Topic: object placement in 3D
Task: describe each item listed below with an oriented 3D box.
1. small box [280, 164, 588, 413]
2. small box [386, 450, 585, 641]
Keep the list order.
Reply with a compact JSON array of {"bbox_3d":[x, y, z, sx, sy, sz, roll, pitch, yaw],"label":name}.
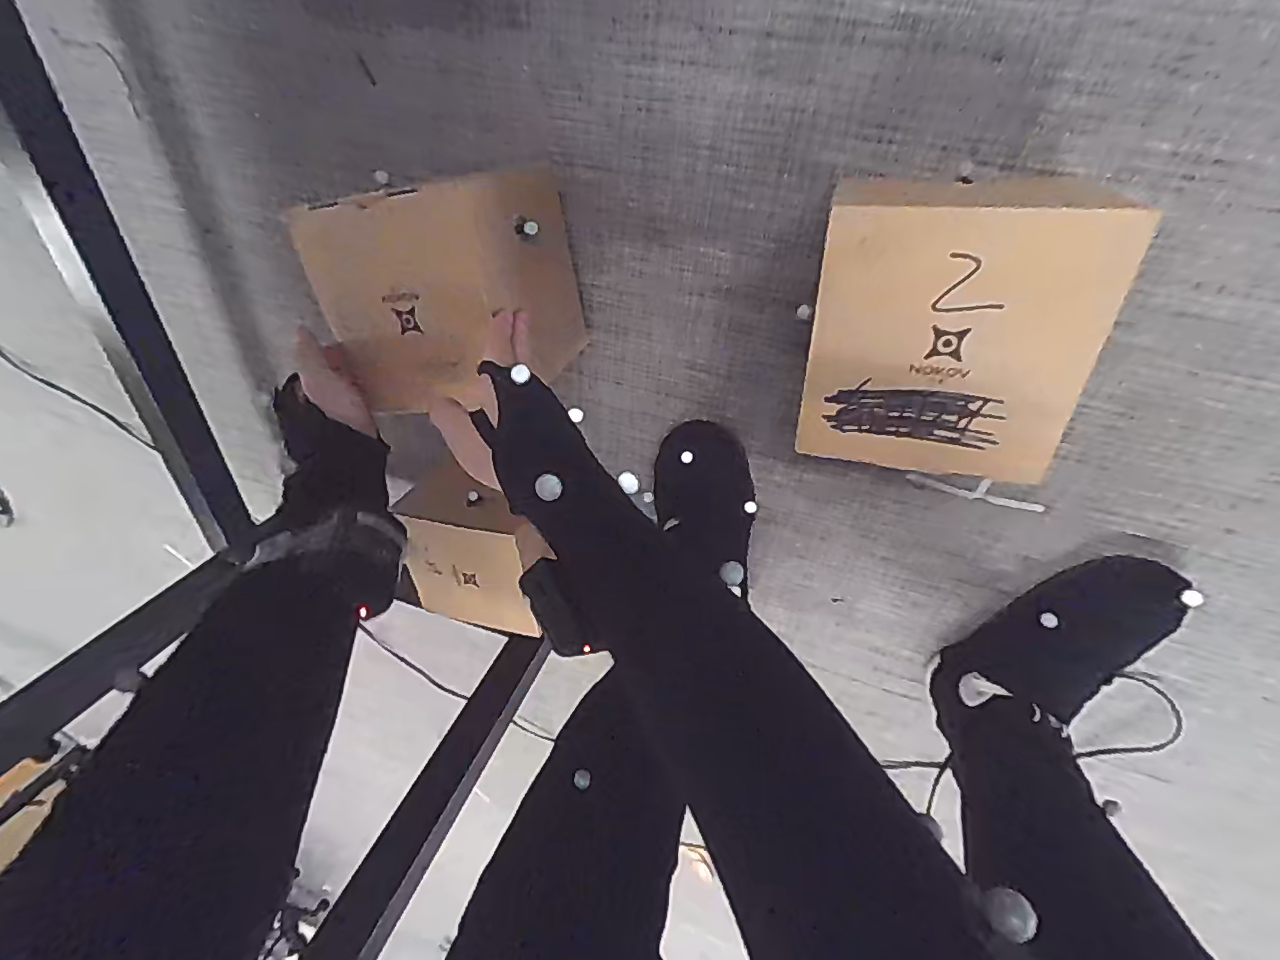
[{"bbox_3d":[-0.163,-0.177,0.492,0.168,0.176,0.179,0,123,18],"label":"small box"},{"bbox_3d":[-0.179,0.074,0.696,0.179,0.176,0.168,8,124,17],"label":"small box"}]
